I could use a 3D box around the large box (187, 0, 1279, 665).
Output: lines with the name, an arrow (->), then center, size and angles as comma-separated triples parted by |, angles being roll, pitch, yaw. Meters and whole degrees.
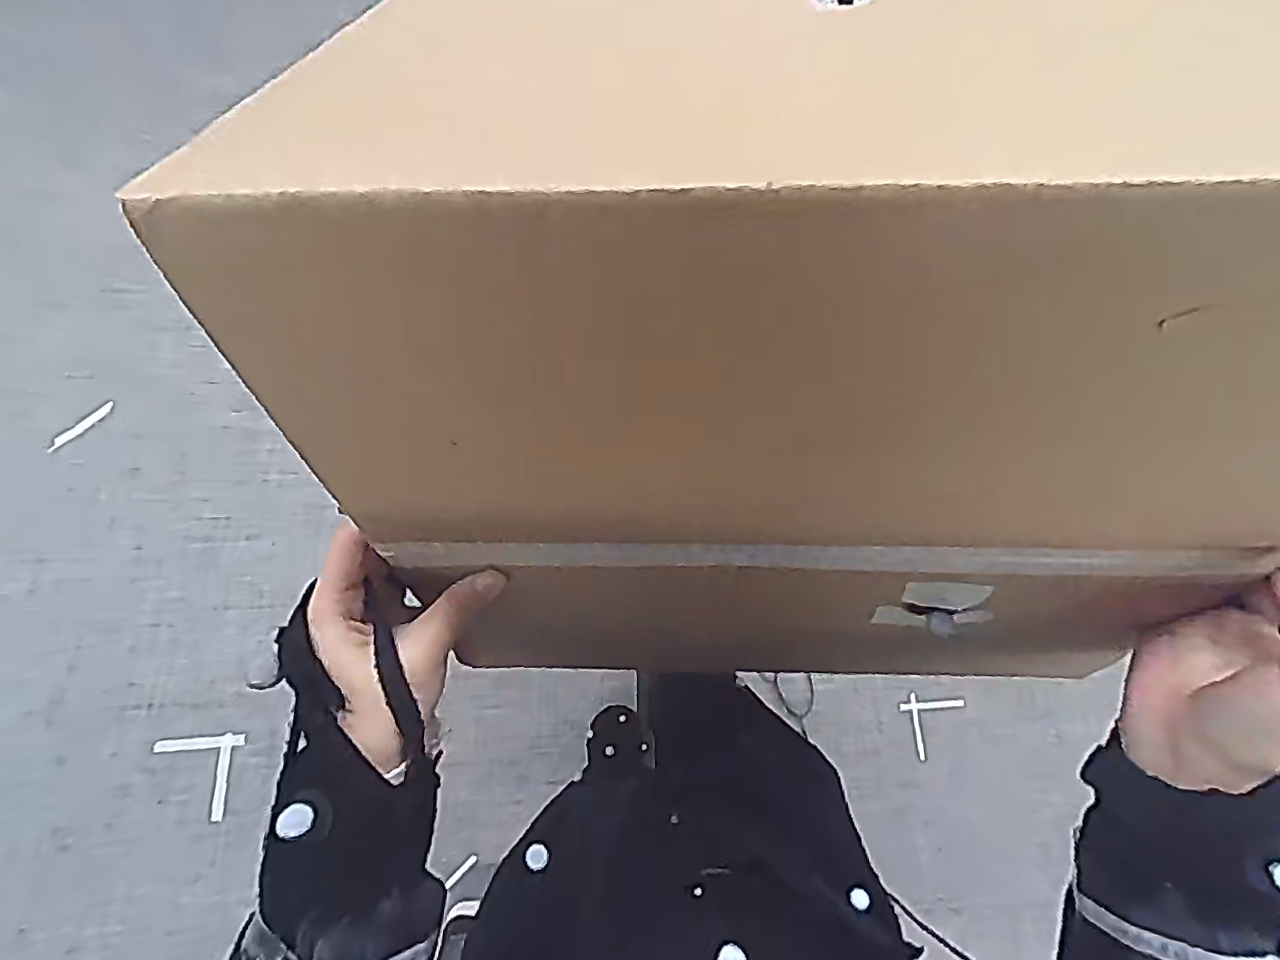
large box -> 0.077, -0.088, 0.346 | 0.408, 0.320, 0.320 | -1, 52, 2
